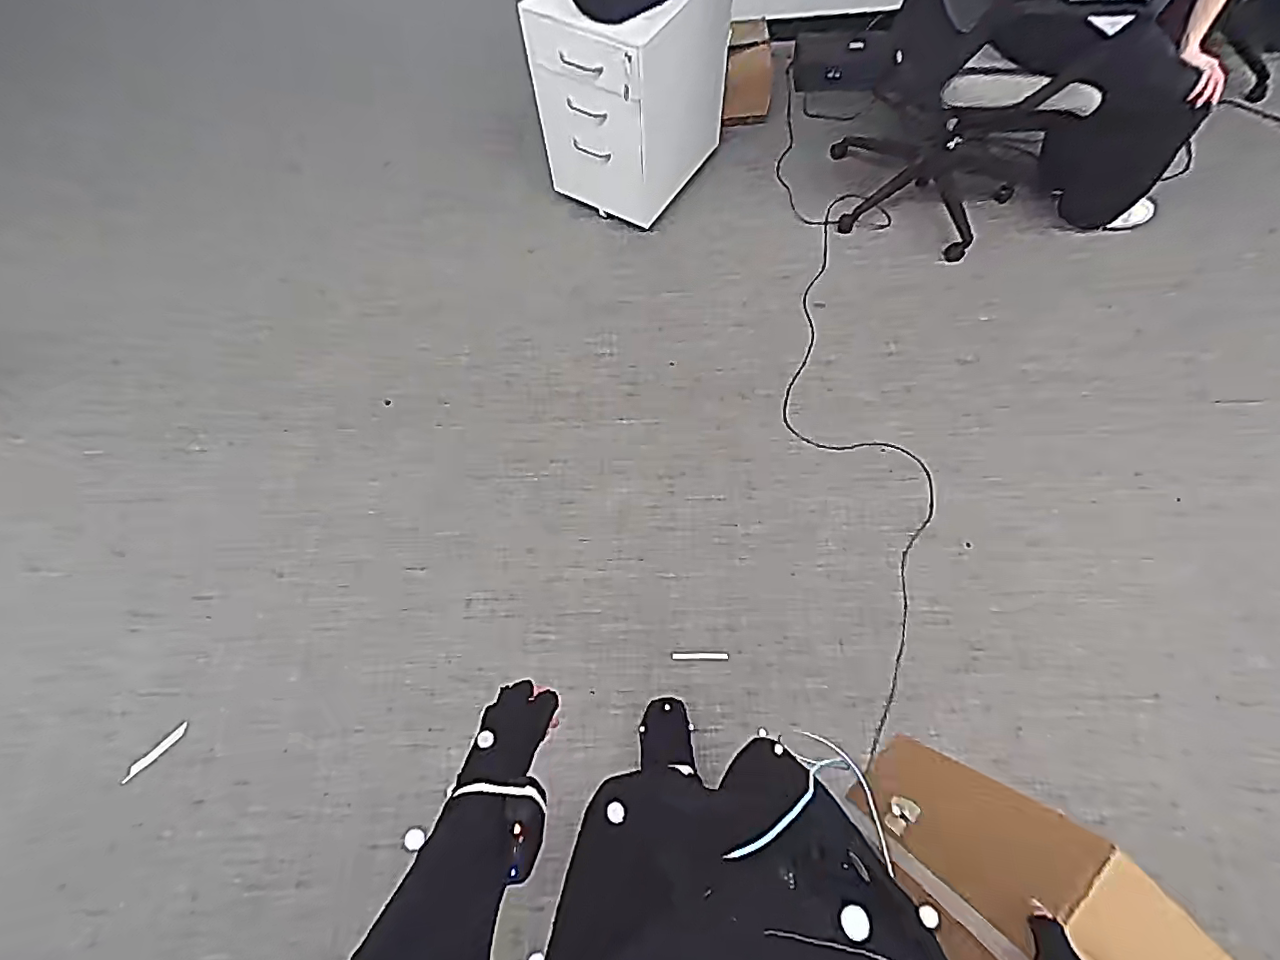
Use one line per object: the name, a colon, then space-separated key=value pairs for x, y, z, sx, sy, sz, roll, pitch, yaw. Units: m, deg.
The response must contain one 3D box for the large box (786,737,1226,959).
large box: x=0.463 y=0.617 z=0.707 sx=0.320 sy=0.408 sz=0.320 roll=43 pitch=80 yaw=5
